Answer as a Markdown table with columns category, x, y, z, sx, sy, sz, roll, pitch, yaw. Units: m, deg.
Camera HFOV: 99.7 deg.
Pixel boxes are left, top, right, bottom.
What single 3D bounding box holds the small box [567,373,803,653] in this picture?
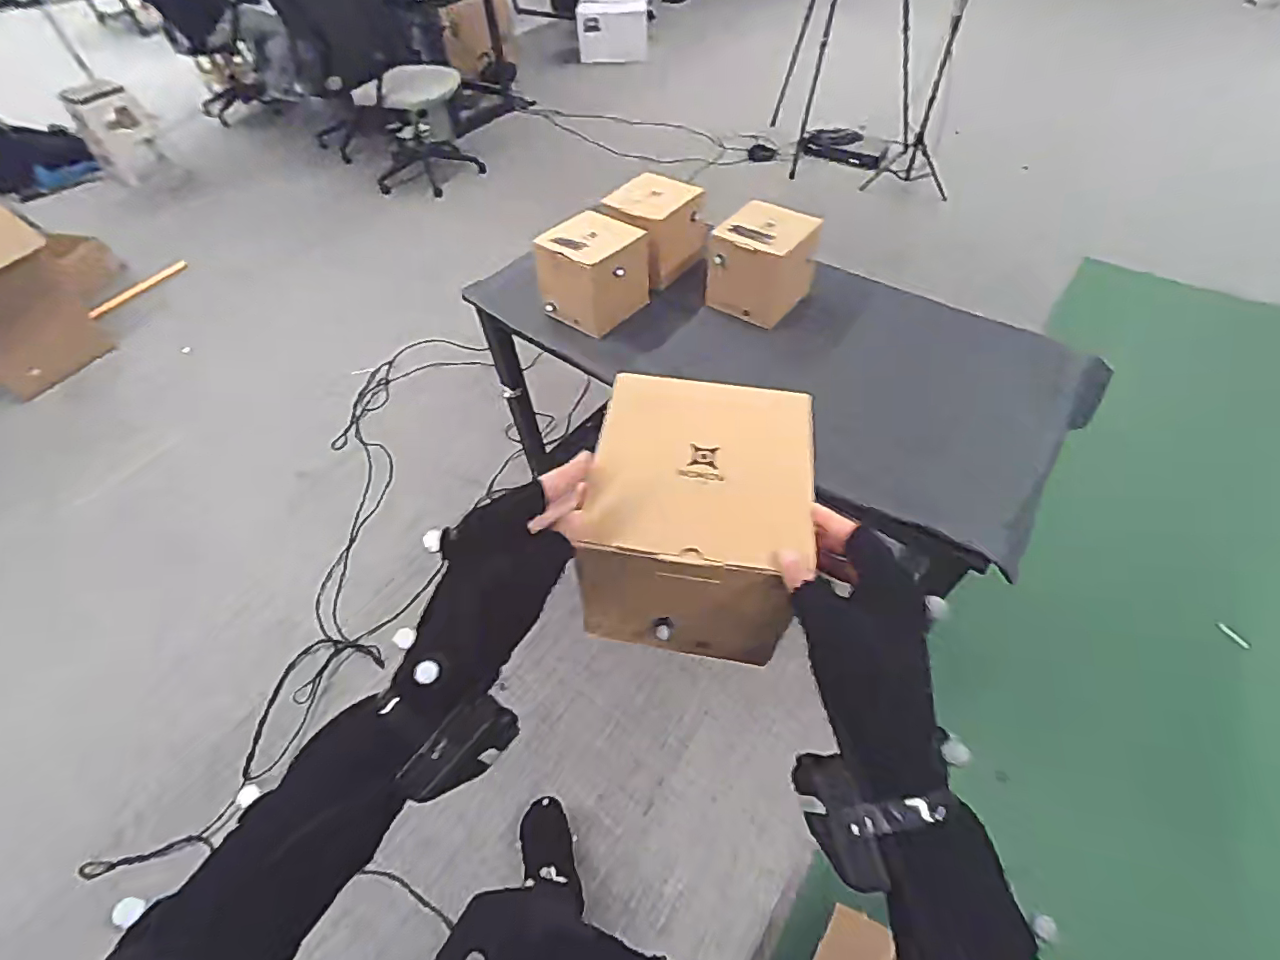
| category | x | y | z | sx | sy | sz | roll | pitch | yaw |
| --- | --- | --- | --- | --- | --- | --- | --- | --- | --- |
| small box | 0.039 | 0.032 | 0.479 | 0.168 | 0.176 | 0.179 | 6 | 54 | 4 |
